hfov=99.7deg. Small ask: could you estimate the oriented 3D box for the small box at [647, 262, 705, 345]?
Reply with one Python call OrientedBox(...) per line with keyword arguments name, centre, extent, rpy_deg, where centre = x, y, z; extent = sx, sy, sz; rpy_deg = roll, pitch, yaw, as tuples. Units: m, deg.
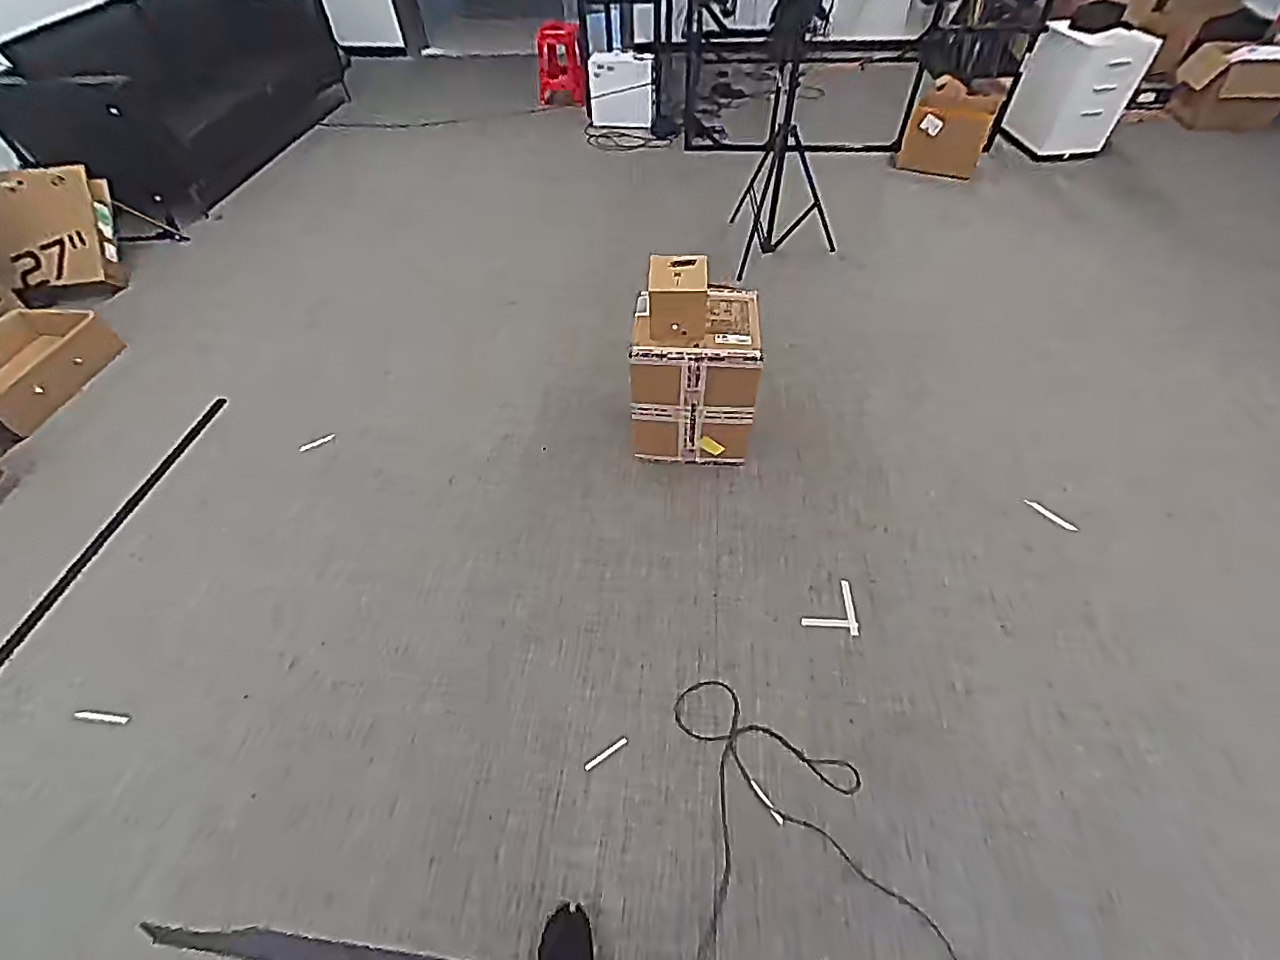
OrientedBox(name="small box", centre=(0.108, -0.525, 1.607), extent=(0.168, 0.176, 0.179), rpy_deg=(1, 54, 5))
